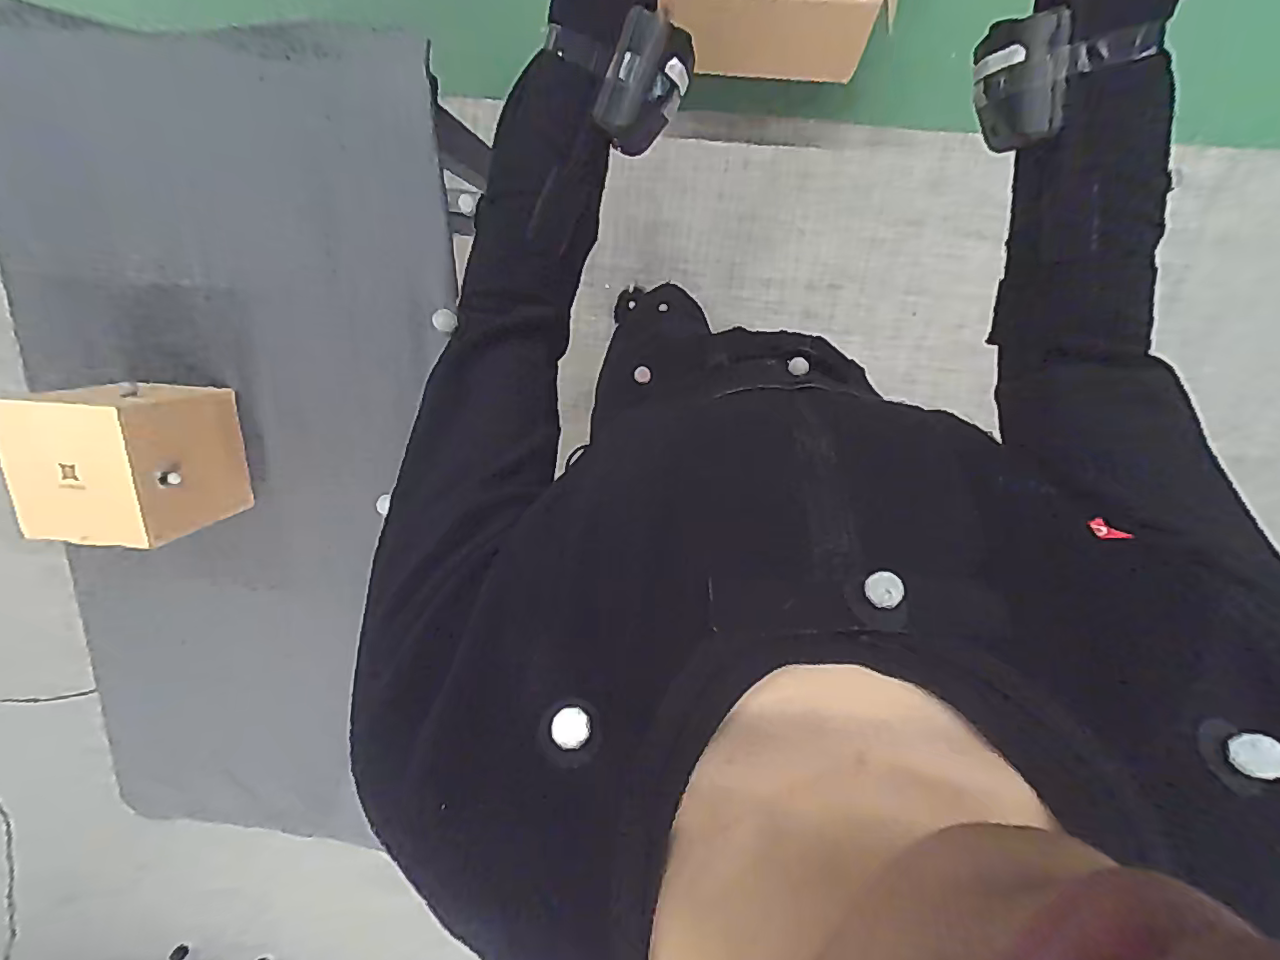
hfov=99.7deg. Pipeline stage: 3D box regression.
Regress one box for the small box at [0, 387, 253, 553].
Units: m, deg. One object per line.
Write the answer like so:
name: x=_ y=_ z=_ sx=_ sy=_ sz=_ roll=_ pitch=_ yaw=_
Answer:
small box: x=-0.653 y=-0.023 z=0.706 sx=0.168 sy=0.176 sz=0.179 roll=4 pitch=108 yaw=4
